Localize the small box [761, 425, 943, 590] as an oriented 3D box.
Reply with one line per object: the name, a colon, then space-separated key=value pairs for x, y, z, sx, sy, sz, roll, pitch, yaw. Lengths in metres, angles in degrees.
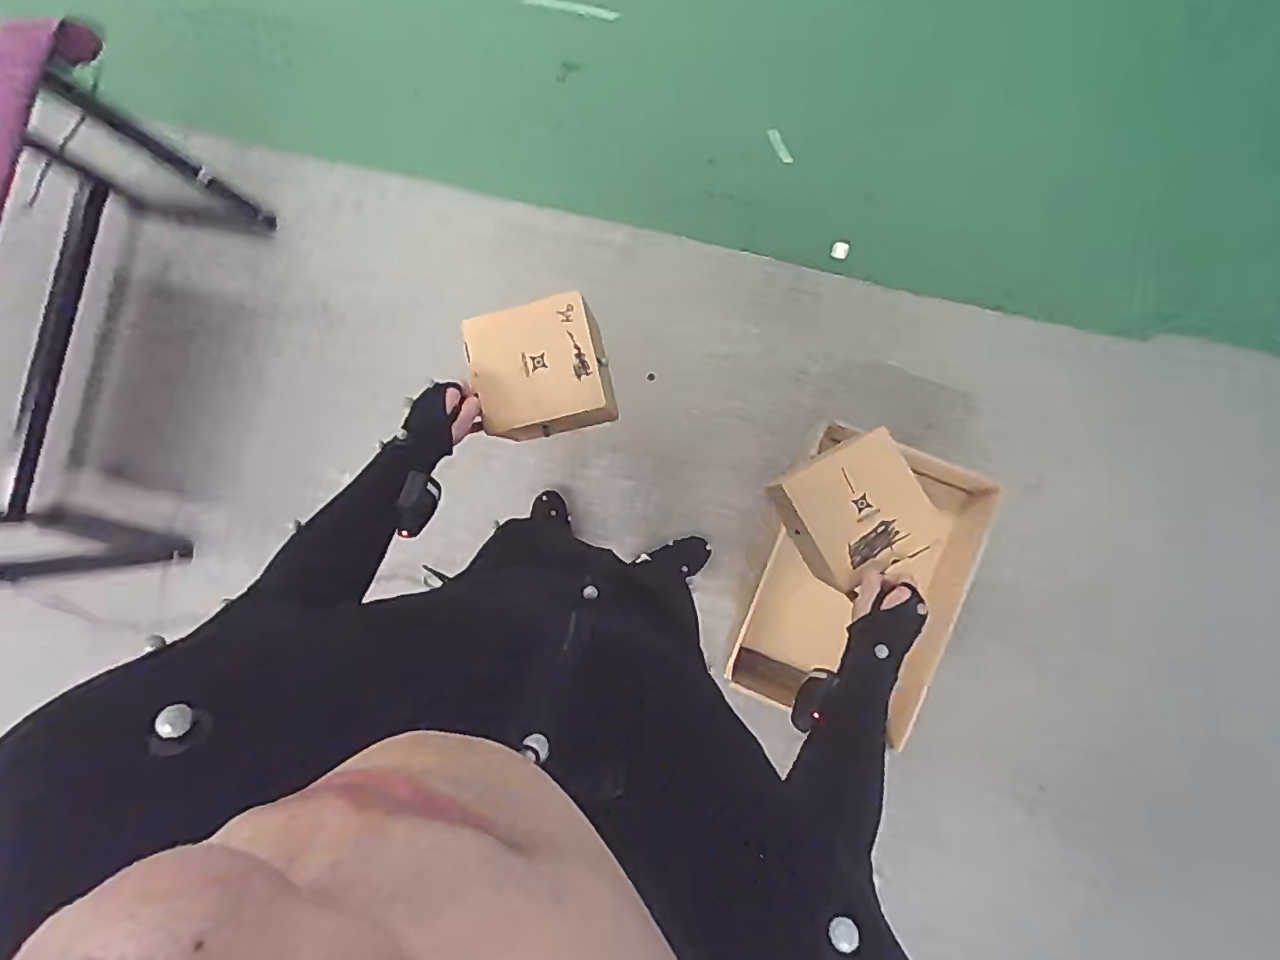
small box: x=0.302 y=0.039 z=0.811 sx=0.168 sy=0.176 sz=0.179 roll=-30 pitch=86 yaw=2

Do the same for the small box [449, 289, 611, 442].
small box: x=-0.153 y=-0.157 z=0.805 sx=0.179 sy=0.176 sz=0.168 roll=-14 pitch=90 yaw=4
